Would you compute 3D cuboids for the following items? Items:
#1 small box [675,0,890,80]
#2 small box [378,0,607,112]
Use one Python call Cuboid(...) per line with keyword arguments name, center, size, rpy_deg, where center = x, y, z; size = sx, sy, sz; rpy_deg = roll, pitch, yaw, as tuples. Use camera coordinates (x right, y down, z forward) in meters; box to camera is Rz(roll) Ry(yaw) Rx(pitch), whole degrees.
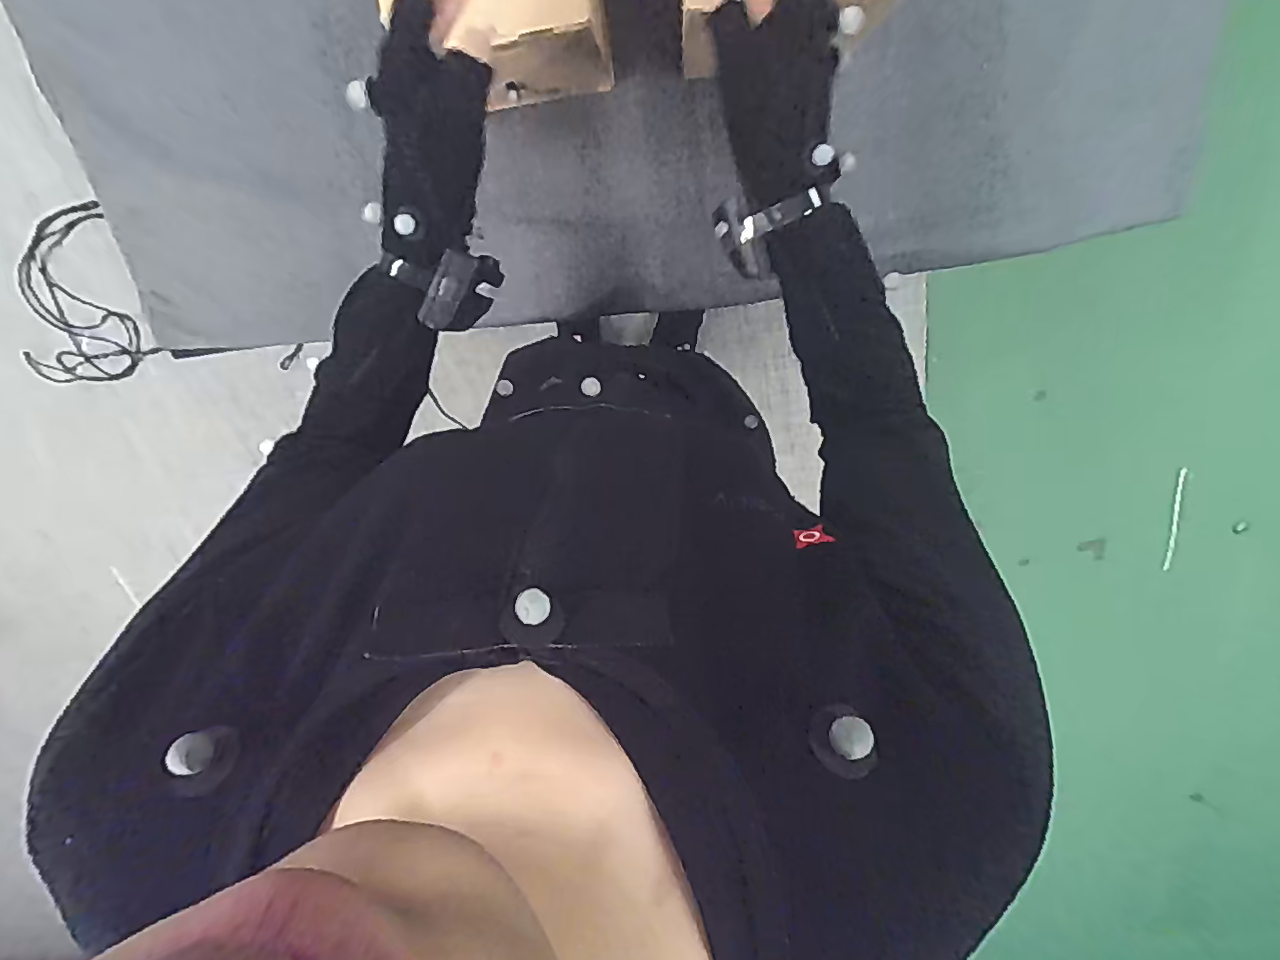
Cuboid(name="small box", center=(0.112, -0.473, 0.457), size=(0.168, 0.176, 0.179), rpy_deg=(-2, 112, 5))
Cuboid(name="small box", center=(-0.128, -0.458, 0.477), size=(0.168, 0.176, 0.179), rpy_deg=(-6, 112, 6))
